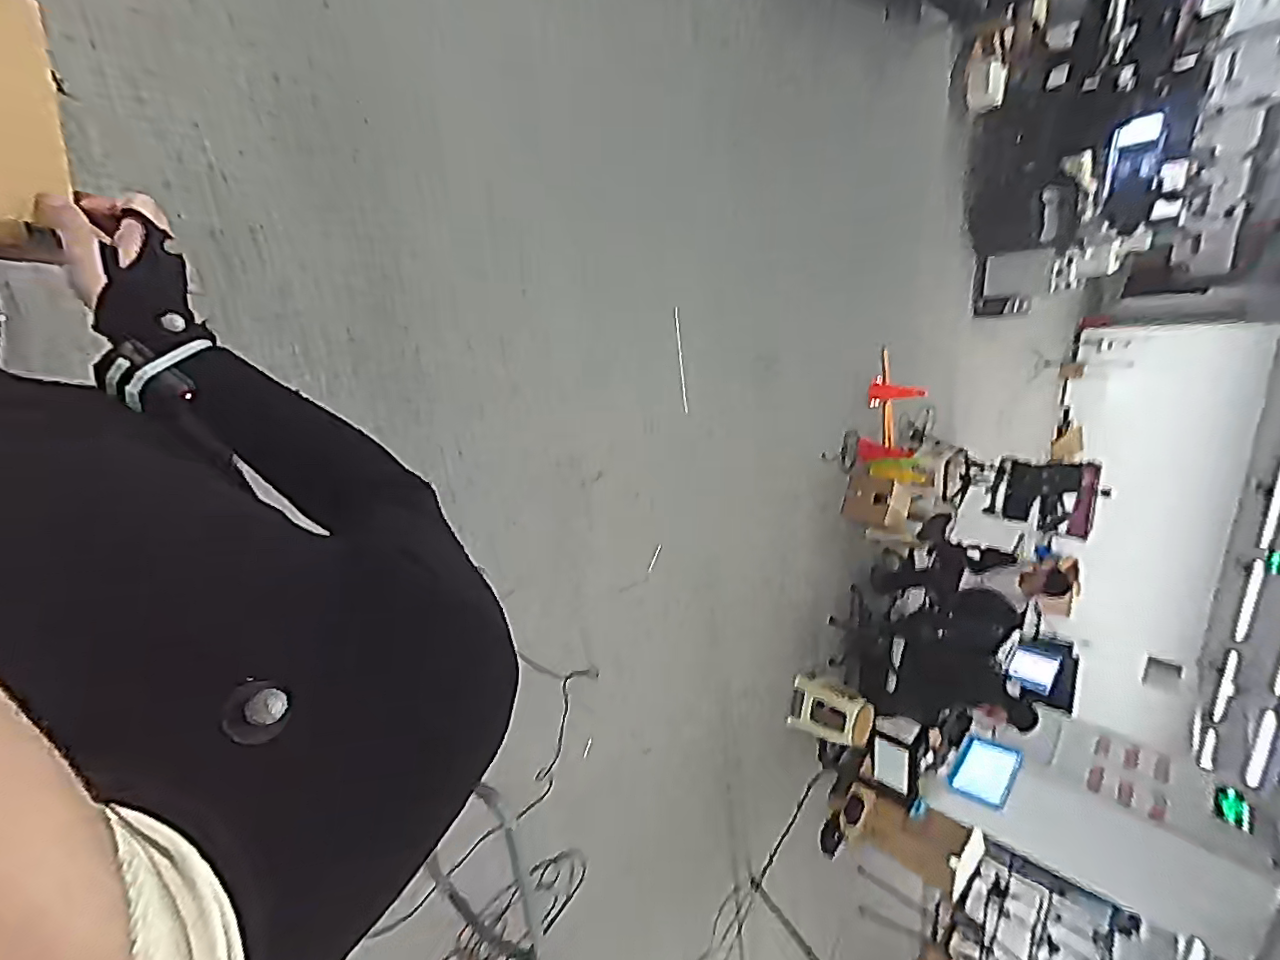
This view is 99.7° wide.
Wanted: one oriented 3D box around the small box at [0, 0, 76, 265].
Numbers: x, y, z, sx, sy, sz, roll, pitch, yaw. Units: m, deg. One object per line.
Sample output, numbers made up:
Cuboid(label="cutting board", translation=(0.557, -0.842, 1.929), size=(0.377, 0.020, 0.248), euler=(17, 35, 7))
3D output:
Cuboid(label="small box", translation=(-0.583, -0.294, 0.436), size=(0.168, 0.176, 0.179), euler=(-1, 97, -42))
